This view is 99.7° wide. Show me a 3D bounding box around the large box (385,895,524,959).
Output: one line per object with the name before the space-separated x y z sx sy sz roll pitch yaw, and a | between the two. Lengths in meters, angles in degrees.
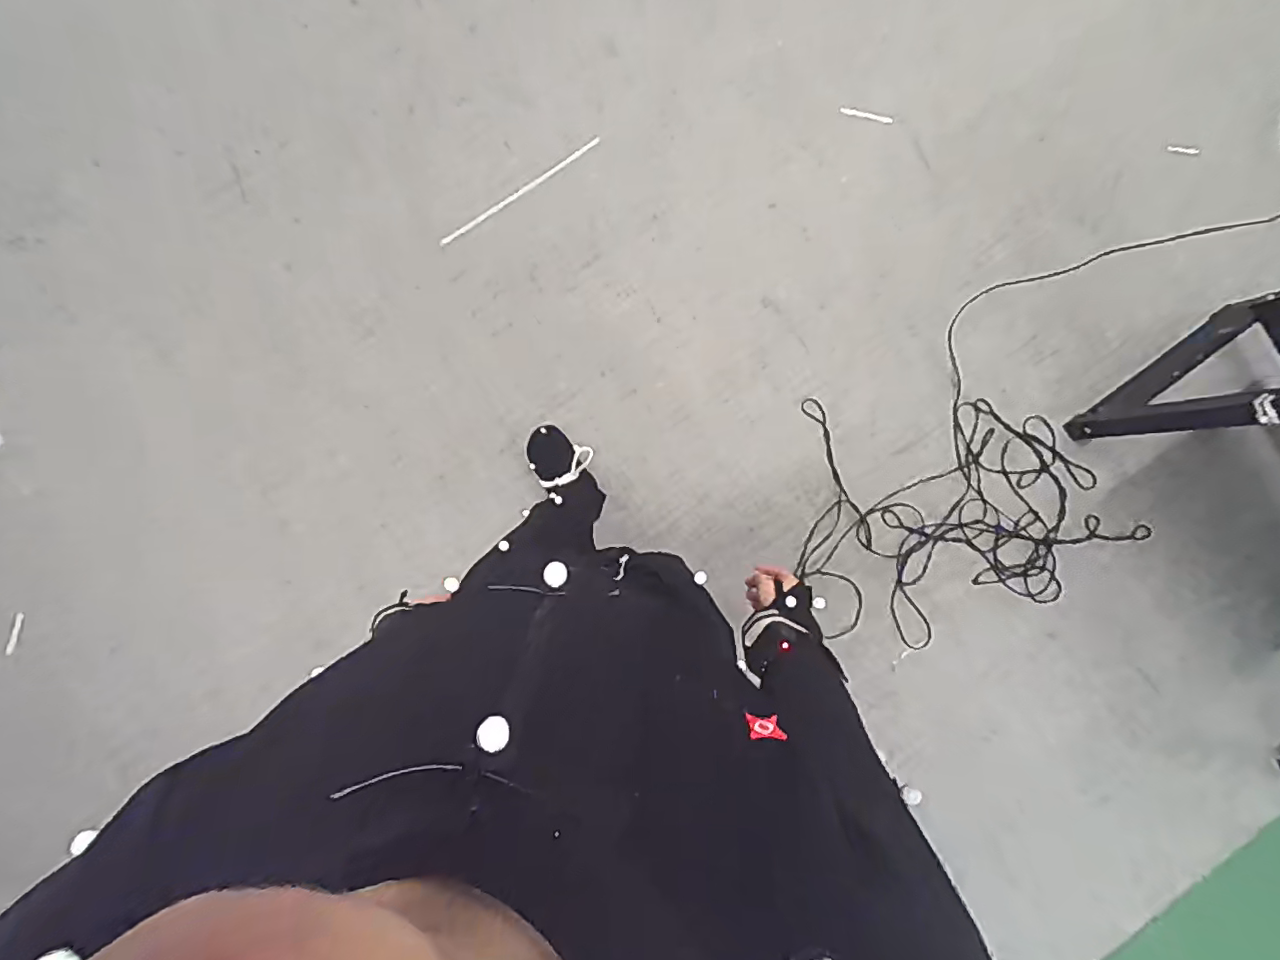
large box | -0.405 1.261 1.181 0.320 0.320 0.408 -36 91 -4
